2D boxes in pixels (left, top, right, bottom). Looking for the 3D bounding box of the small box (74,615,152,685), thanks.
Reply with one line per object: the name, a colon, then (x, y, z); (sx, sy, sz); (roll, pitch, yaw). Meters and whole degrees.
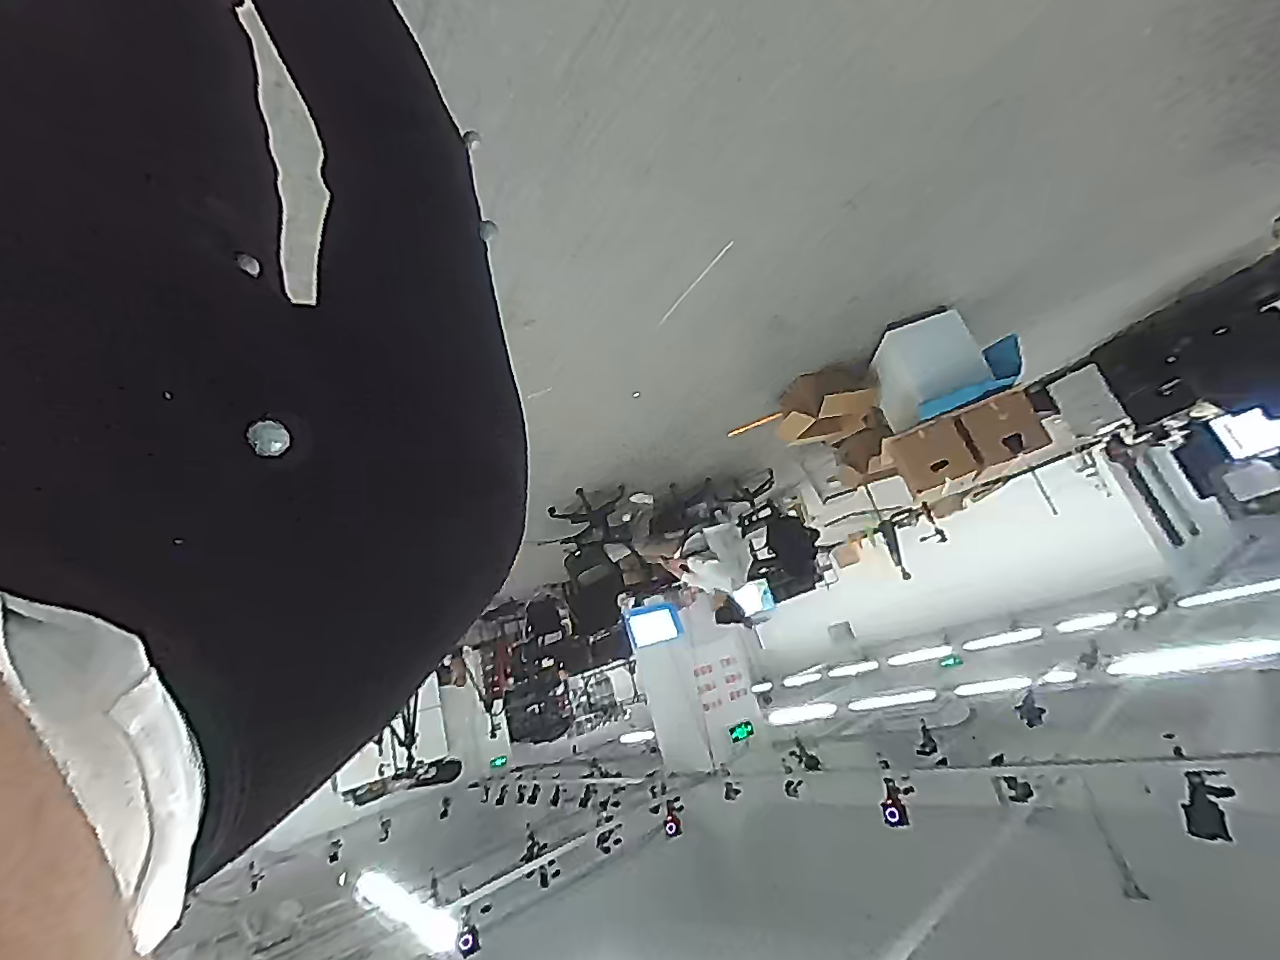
small box: (-1.718, 0.553, 1.769); (0.168, 0.176, 0.179); (-3, 157, -38)
